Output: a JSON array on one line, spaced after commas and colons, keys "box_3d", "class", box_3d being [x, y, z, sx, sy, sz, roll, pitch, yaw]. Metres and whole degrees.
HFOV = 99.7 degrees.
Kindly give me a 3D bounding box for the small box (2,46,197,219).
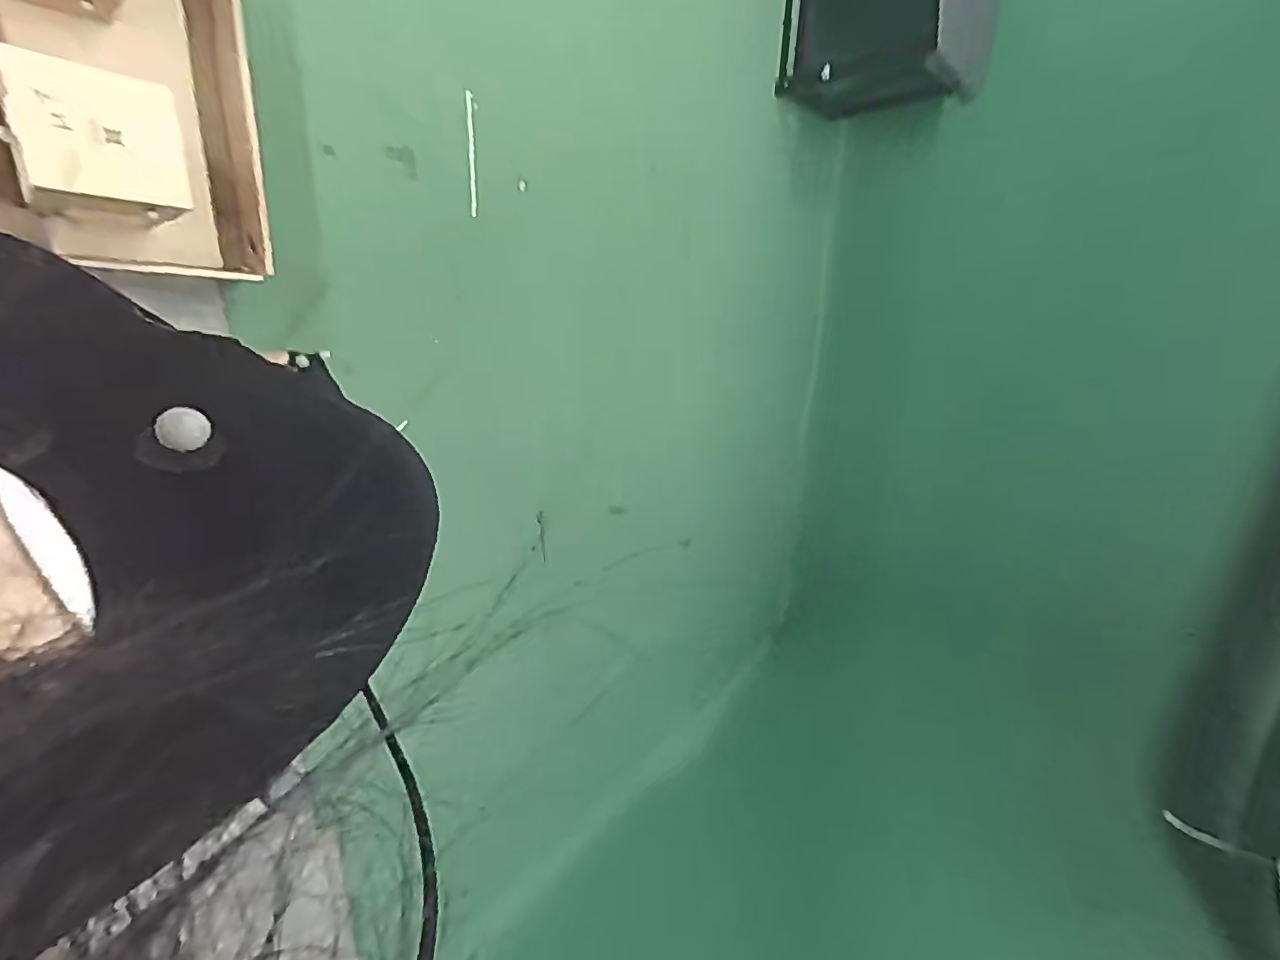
[{"box_3d": [-0.799, -0.495, 0.804, 0.179, 0.176, 0.168, -15, 112, -46], "class": "small box"}]
